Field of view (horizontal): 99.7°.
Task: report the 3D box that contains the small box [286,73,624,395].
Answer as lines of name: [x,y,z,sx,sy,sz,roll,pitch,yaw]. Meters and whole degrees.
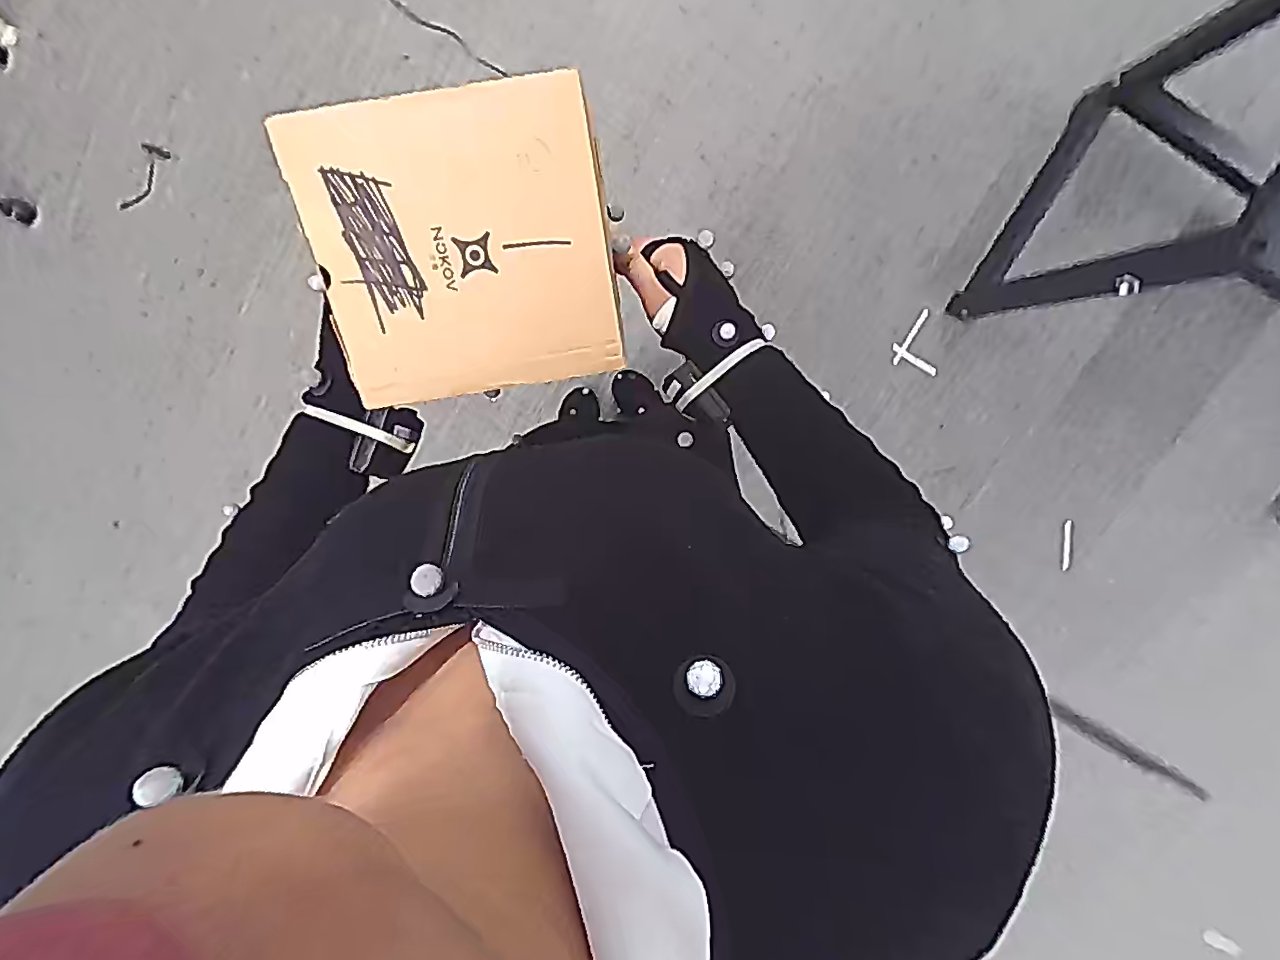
small box: [-0.107,-0.171,0.404,0.179,0.176,0.168,-8,113,0]
